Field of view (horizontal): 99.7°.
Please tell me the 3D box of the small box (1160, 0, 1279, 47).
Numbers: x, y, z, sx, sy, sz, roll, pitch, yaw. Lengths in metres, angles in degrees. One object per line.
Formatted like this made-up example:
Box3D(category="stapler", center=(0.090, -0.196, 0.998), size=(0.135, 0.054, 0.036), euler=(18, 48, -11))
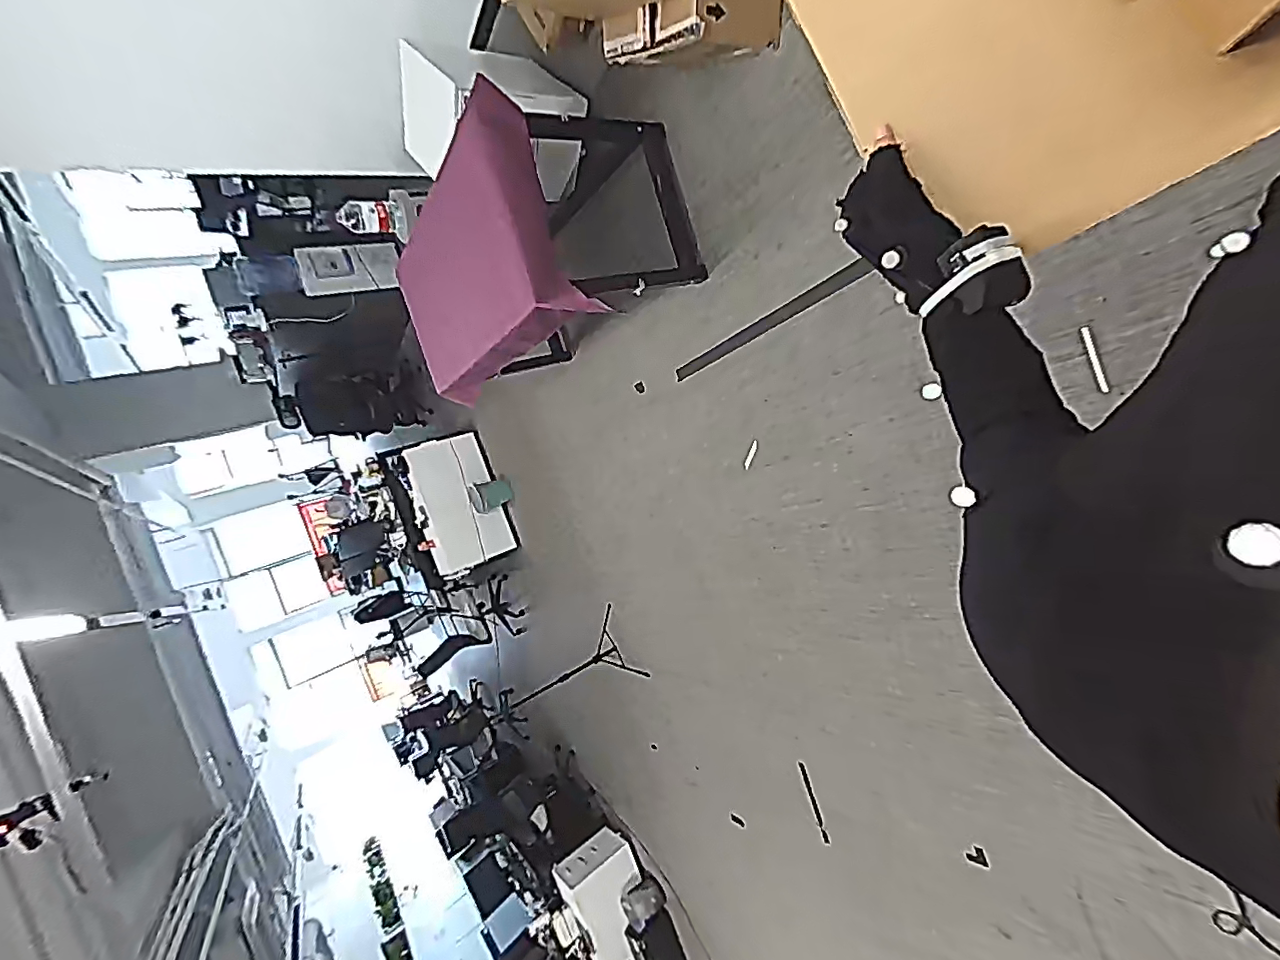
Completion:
Box3D(category="small box", center=(0.361, -0.372, 0.268), size=(0.168, 0.176, 0.179), euler=(54, 133, 2))
